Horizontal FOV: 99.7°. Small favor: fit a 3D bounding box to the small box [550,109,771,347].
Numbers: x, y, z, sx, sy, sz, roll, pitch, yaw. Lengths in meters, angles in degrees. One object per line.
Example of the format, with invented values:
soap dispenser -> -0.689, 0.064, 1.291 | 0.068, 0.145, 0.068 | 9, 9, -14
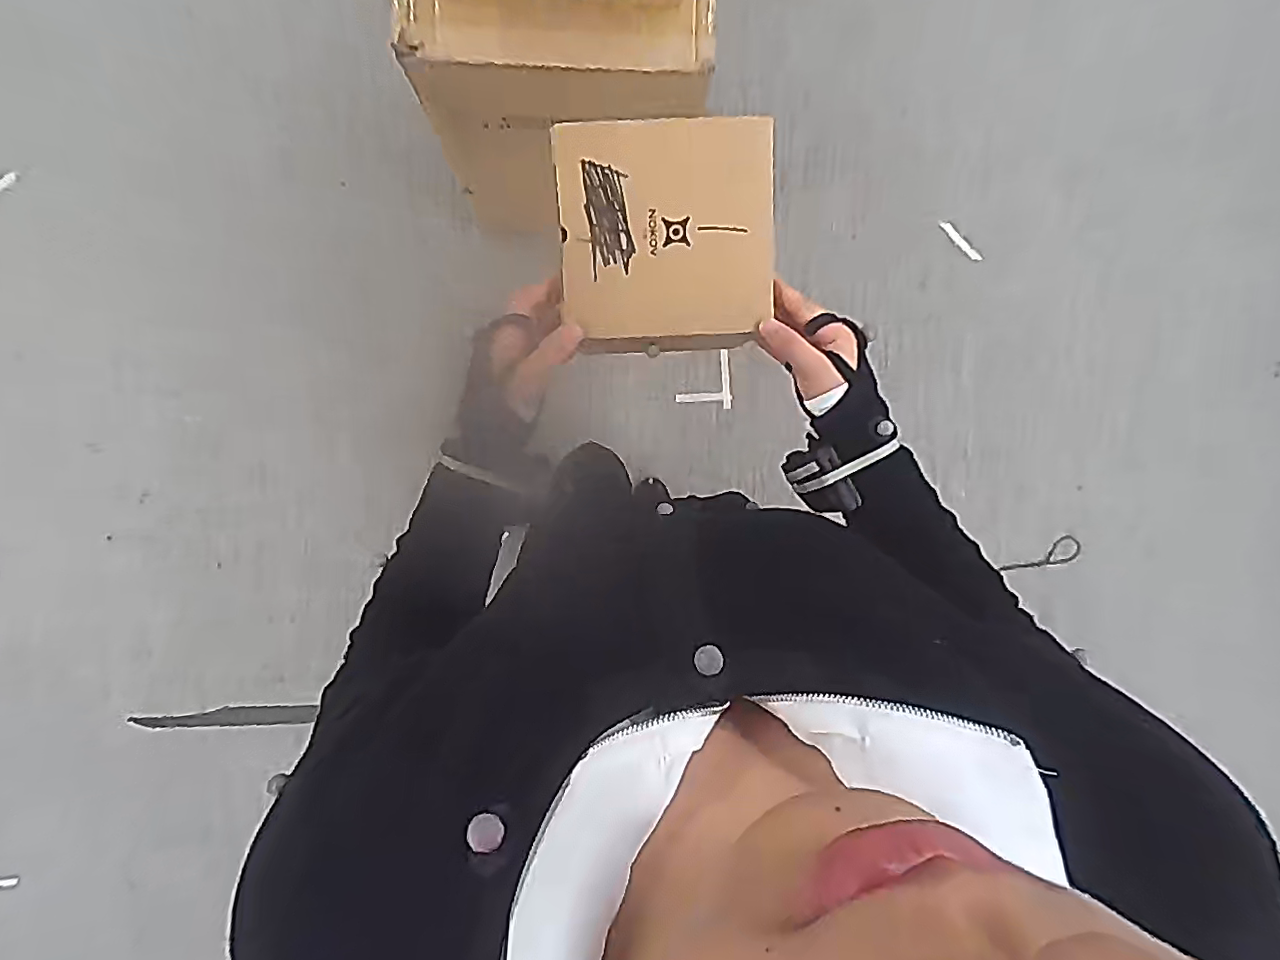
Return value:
small box -> 0.017, -0.220, 0.515 | 0.179, 0.176, 0.168 | -3, 99, -2
